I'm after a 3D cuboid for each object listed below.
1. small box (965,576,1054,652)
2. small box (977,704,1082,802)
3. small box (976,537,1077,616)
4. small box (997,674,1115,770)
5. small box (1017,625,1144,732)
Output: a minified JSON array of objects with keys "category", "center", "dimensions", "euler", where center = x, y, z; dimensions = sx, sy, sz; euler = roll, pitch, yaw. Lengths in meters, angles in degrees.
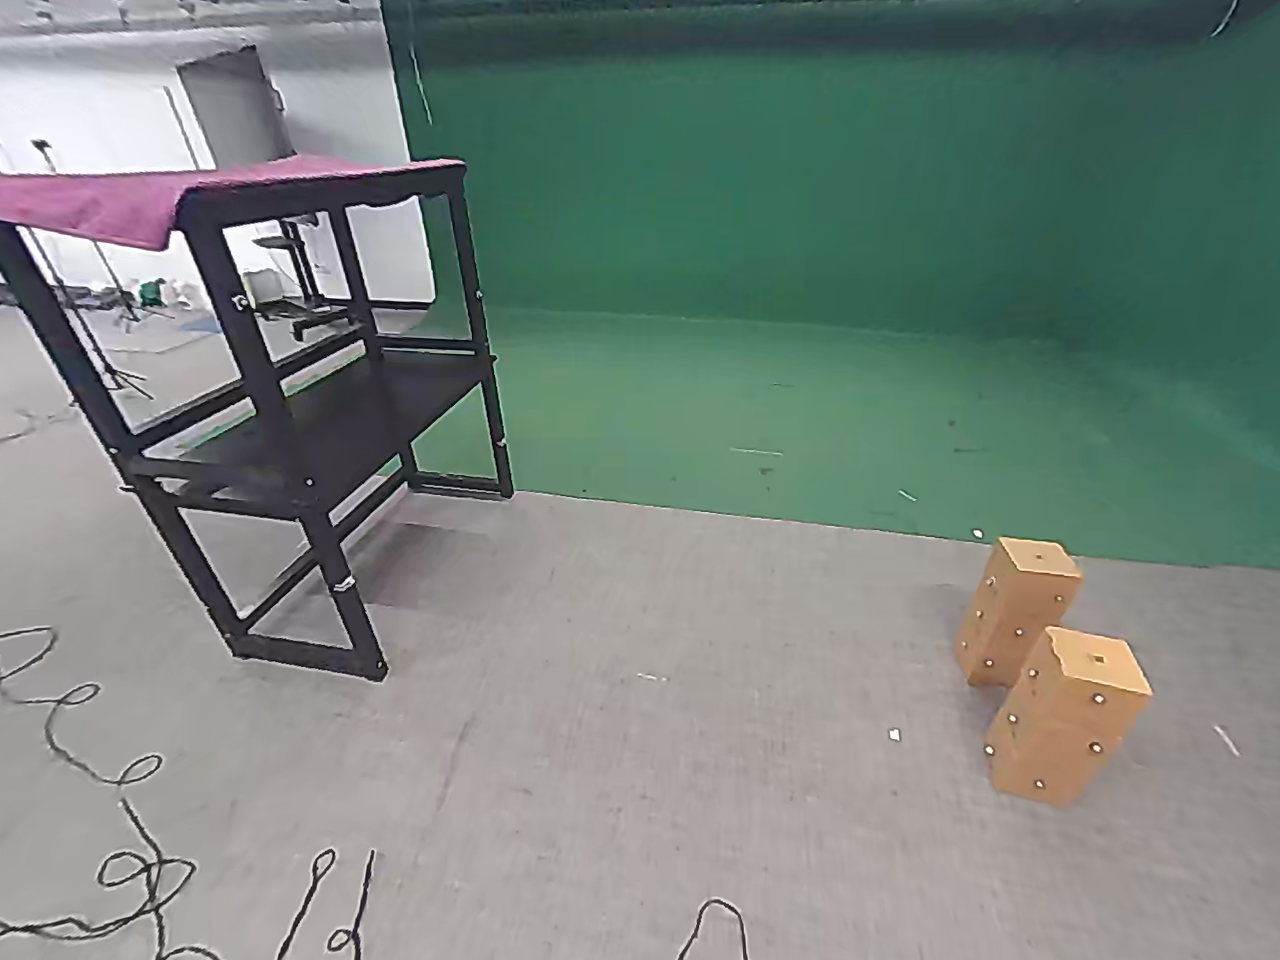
[{"category":"small box","center":[1.184,0.435,1.754],"dimensions":[0.179,0.176,0.168],"euler":[4,33,8]},{"category":"small box","center":[1.091,0.774,1.529],"dimensions":[0.179,0.176,0.168],"euler":[9,34,15]},{"category":"small box","center":[1.179,0.299,1.665],"dimensions":[0.179,0.176,0.168],"euler":[5,31,8]},{"category":"small box","center":[1.093,0.638,1.438],"dimensions":[0.179,0.176,0.168],"euler":[8,33,13]},{"category":"small box","center":[1.089,0.498,1.354],"dimensions":[0.179,0.176,0.168],"euler":[10,34,15]}]
